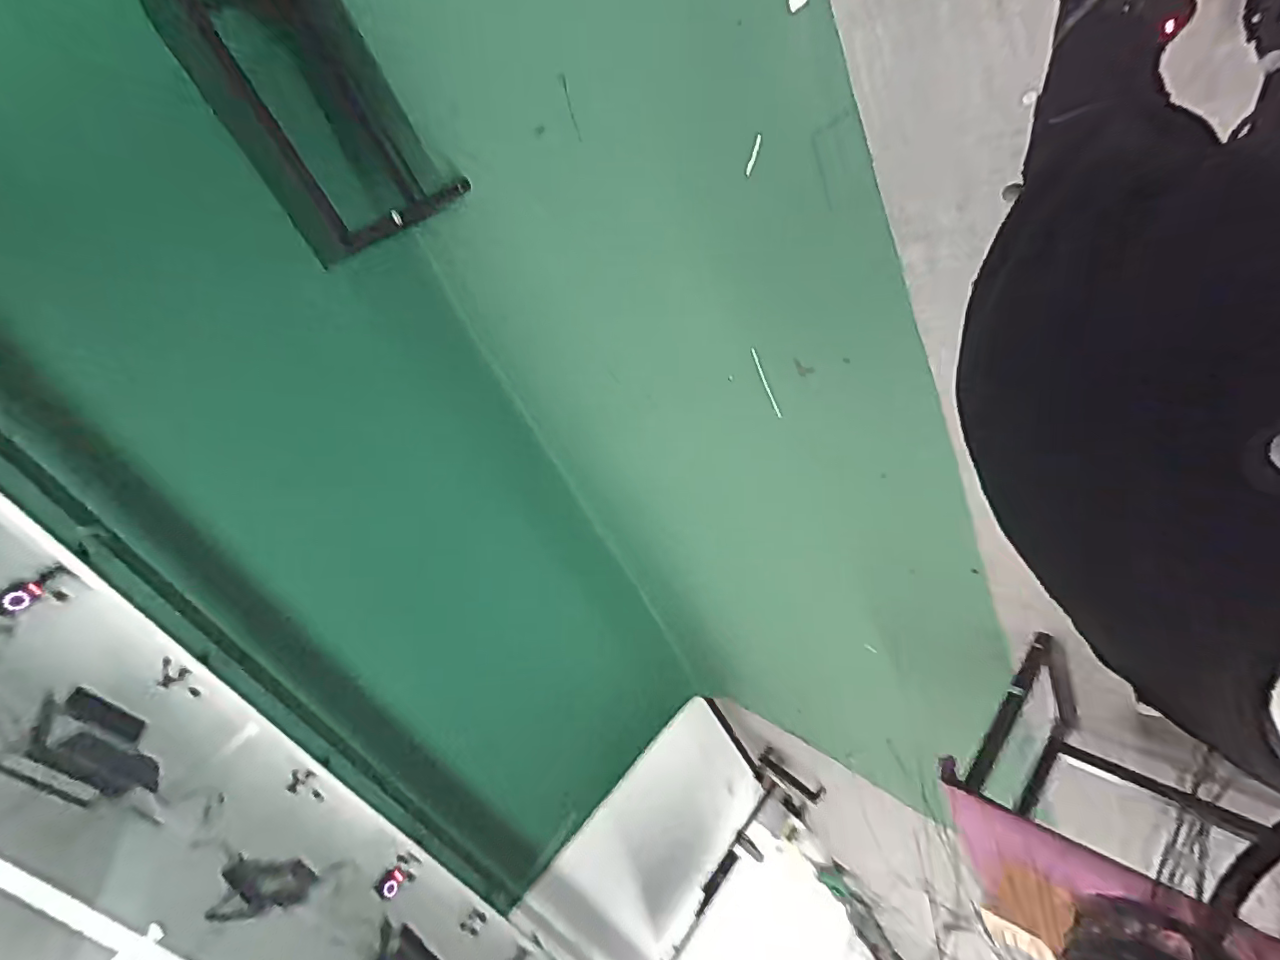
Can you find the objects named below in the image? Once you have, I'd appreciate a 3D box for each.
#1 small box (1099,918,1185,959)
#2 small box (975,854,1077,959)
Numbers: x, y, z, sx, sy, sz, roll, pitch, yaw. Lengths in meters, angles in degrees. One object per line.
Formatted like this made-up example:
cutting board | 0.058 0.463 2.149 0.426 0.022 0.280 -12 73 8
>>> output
small box | 1.297 1.288 1.385 0.179 0.176 0.168 15 138 50
small box | 1.139 1.251 1.586 0.168 0.176 0.179 51 155 -8
